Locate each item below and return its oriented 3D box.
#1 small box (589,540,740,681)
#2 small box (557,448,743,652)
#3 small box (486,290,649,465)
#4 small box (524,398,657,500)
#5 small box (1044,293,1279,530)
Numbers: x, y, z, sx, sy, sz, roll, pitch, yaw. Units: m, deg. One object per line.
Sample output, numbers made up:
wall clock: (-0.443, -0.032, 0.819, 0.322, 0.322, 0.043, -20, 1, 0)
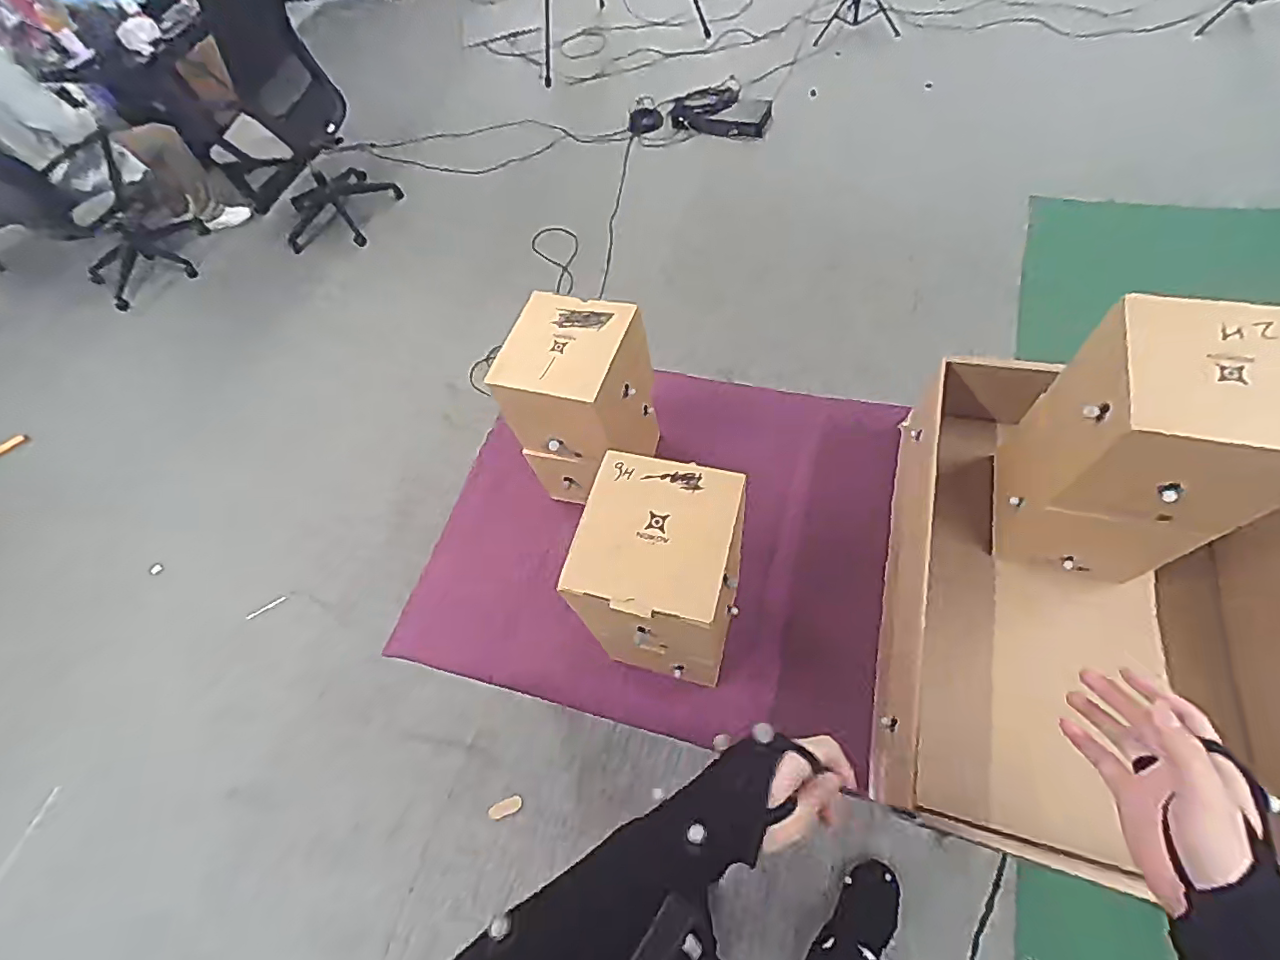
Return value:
small box: (0.046, 0.174, 0.783, 0.168, 0.176, 0.179, 12, 61, 15)
small box: (0.025, 0.089, 0.644, 0.168, 0.176, 0.179, 11, 63, 15)
small box: (-0.091, -0.148, 0.799, 0.168, 0.176, 0.179, 13, 64, 17)
small box: (-0.074, -0.066, 0.941, 0.168, 0.176, 0.179, 9, 62, 15)
small box: (0.563, -0.067, 0.575, 0.168, 0.176, 0.179, 13, 65, 17)
